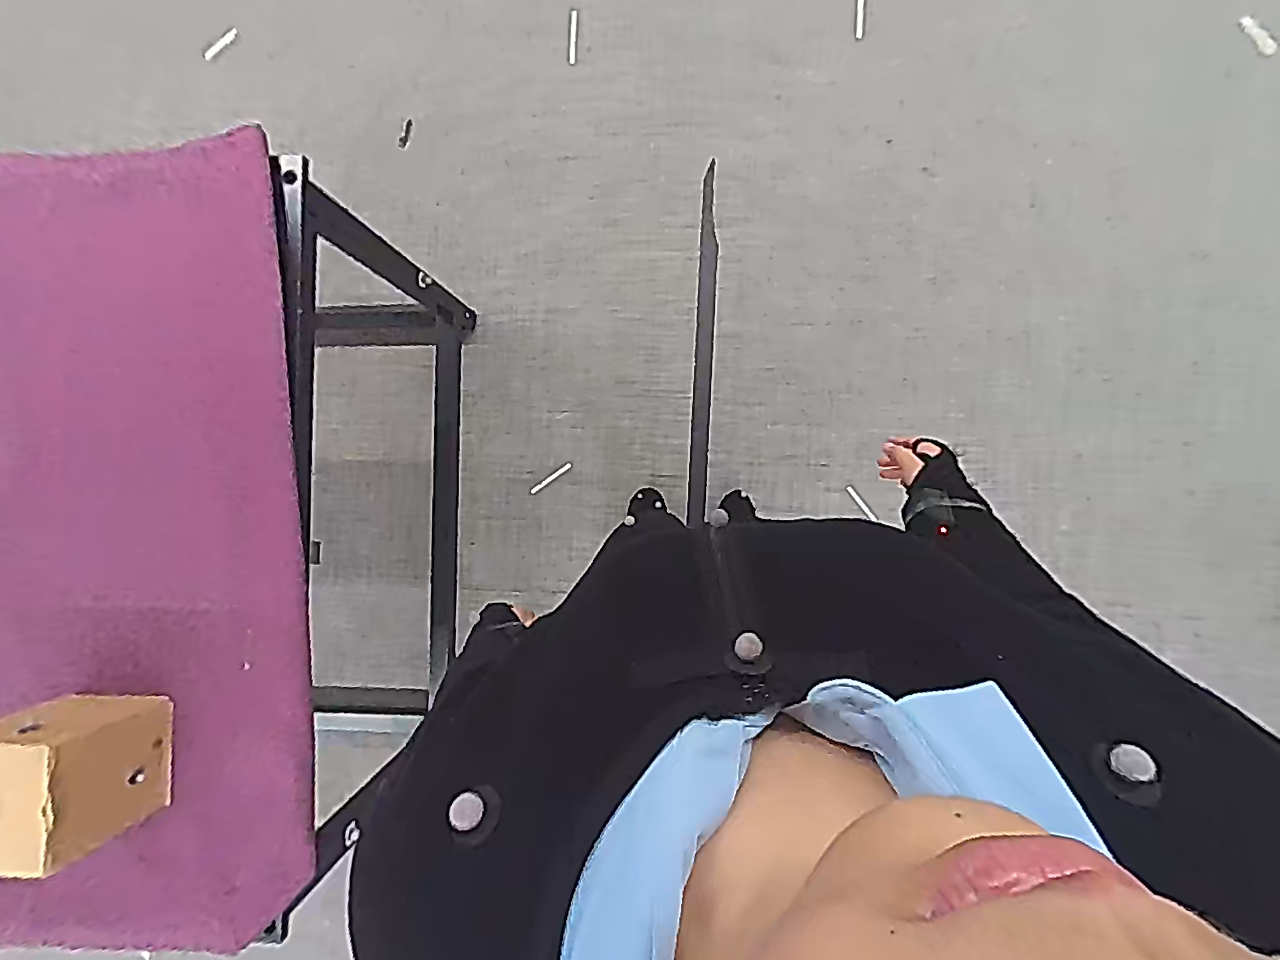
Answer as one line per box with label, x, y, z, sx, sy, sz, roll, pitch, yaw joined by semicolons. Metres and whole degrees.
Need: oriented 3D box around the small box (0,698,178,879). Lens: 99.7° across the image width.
small box;-0.813;0.420;0.764;0.179;0.176;0.168;-1;88;4
